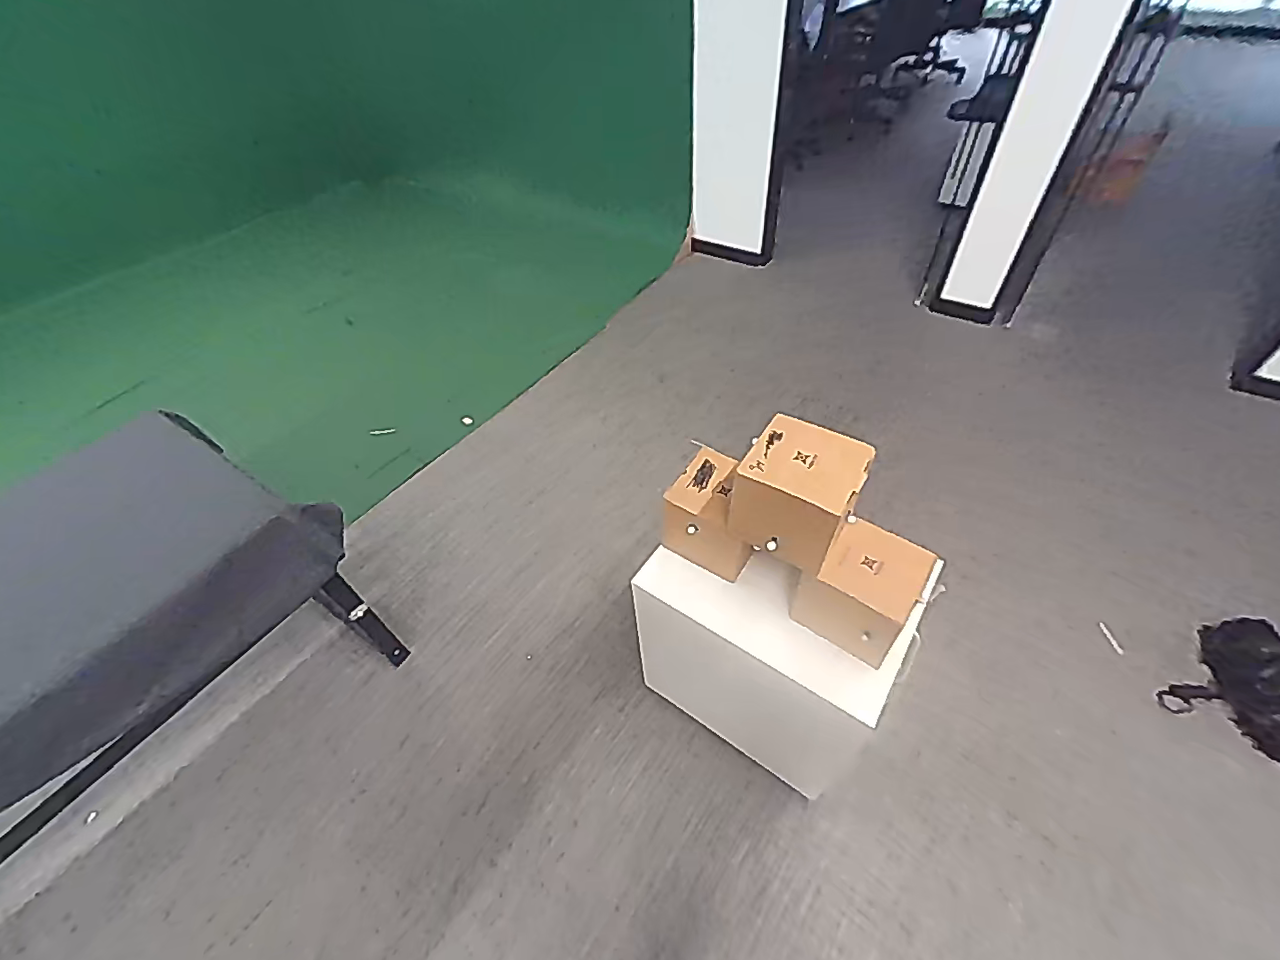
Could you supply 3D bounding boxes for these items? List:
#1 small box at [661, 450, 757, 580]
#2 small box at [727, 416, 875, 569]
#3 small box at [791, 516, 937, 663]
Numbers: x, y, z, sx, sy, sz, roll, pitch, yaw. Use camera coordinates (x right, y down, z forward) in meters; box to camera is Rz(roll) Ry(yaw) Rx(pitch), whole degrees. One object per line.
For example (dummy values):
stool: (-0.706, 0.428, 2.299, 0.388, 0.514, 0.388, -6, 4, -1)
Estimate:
small box: (0.158, 0.074, 1.103, 0.179, 0.176, 0.168, 26, 55, 23)
small box: (0.265, 0.026, 0.921, 0.179, 0.176, 0.168, 26, 54, 23)
small box: (0.395, 0.201, 0.974, 0.179, 0.176, 0.168, 27, 54, 28)
